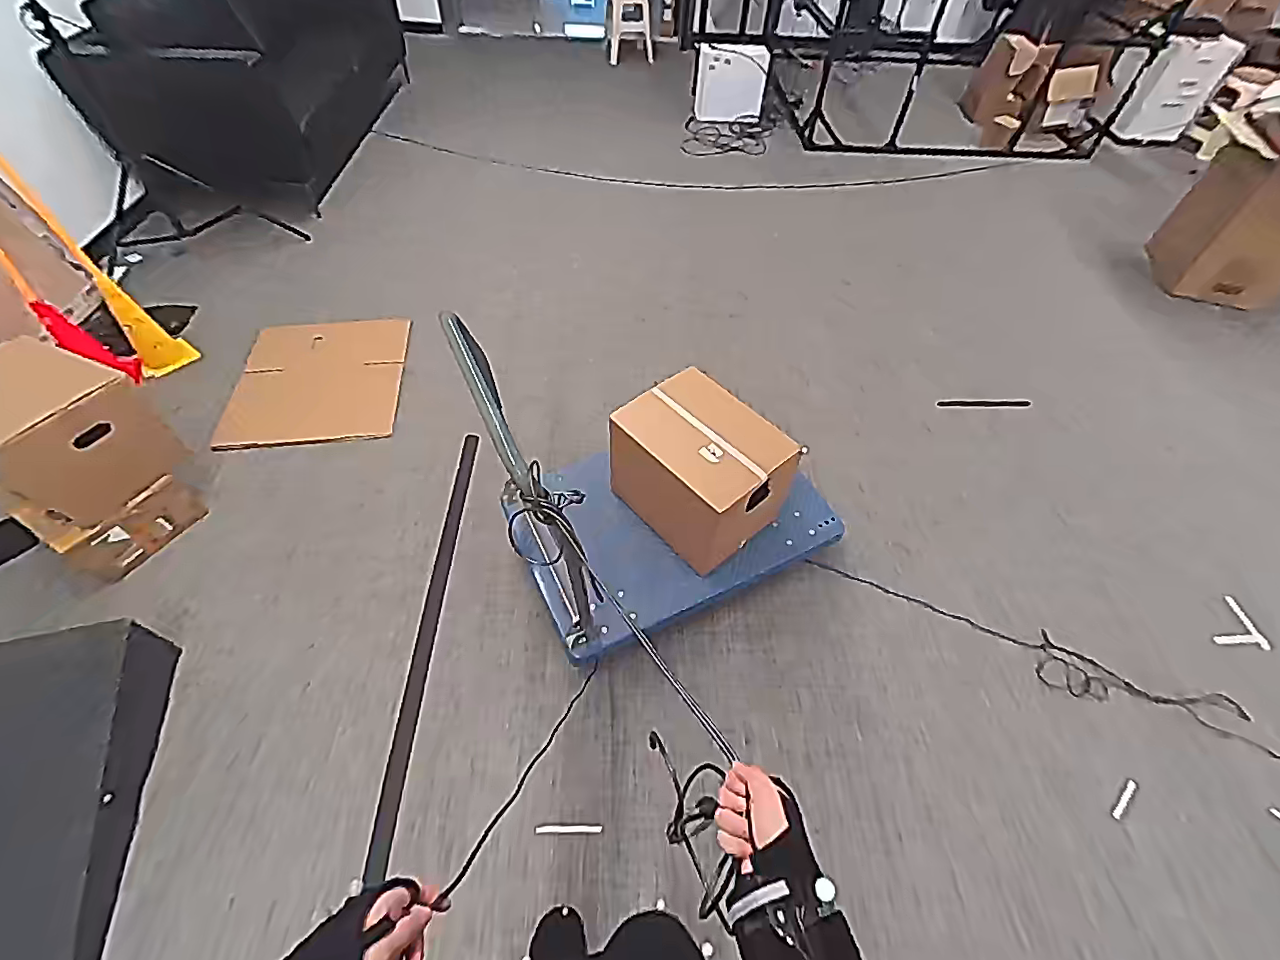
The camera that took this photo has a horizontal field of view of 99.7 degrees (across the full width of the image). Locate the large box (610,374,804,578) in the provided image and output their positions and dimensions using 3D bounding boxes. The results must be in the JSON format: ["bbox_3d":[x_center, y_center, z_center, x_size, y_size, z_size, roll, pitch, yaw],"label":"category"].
[{"bbox_3d":[0.159,-0.016,1.490,0.320,0.320,0.408,-34,61,-25],"label":"large box"}]
